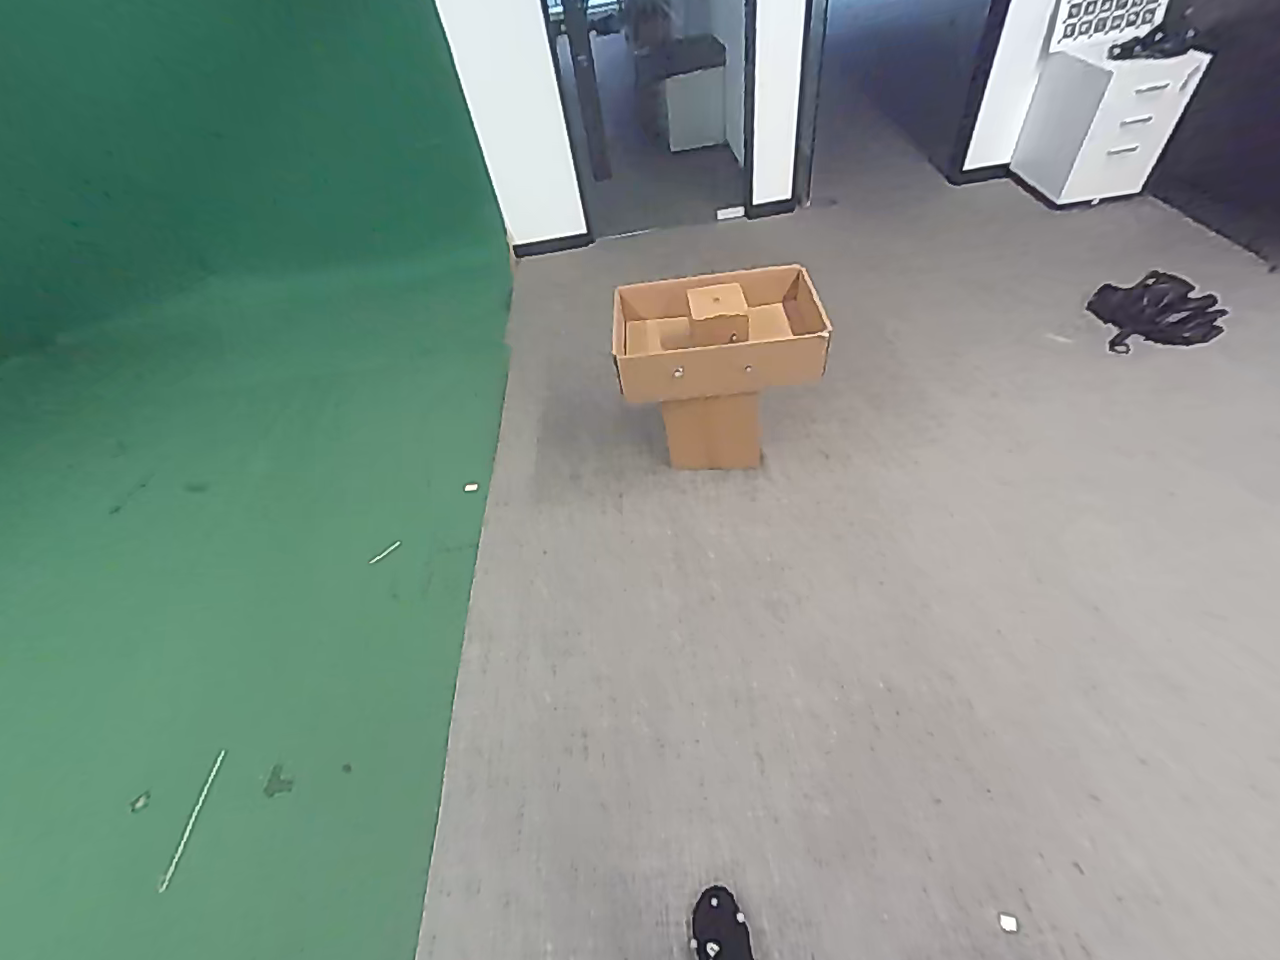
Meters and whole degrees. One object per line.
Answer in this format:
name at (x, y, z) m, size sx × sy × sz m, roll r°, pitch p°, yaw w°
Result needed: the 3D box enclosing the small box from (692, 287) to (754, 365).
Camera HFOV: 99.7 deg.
small box at (0.257, -0.472, 1.677) m, size 0.168 × 0.176 × 0.179 m, roll -7°, pitch 46°, yaw 3°
